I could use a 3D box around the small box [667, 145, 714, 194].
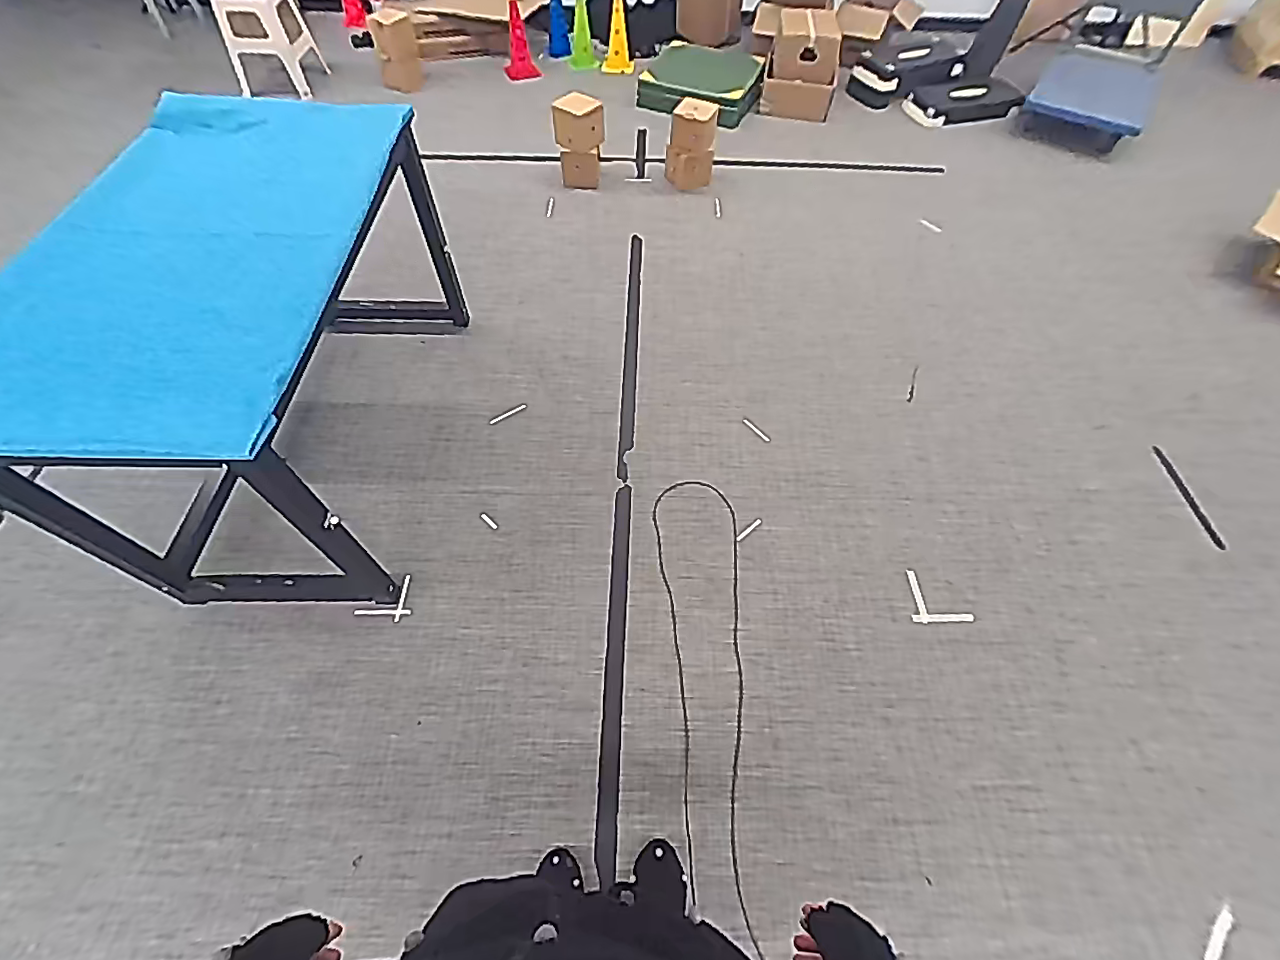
[{"bbox_3d":[0.244,-1.547,2.671,0.179,0.176,0.168,-25,63,-17],"label":"small box"}]

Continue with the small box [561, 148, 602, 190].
[{"bbox_3d":[-0.282,-1.544,2.648,0.179,0.176,0.168,3,56,1],"label":"small box"}]

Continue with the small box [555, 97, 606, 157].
[{"bbox_3d":[-0.276,-1.646,2.515,0.179,0.176,0.168,33,61,19],"label":"small box"}]

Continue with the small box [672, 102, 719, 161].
[{"bbox_3d":[0.254,-1.627,2.528,0.168,0.176,0.179,22,59,10],"label":"small box"}]
